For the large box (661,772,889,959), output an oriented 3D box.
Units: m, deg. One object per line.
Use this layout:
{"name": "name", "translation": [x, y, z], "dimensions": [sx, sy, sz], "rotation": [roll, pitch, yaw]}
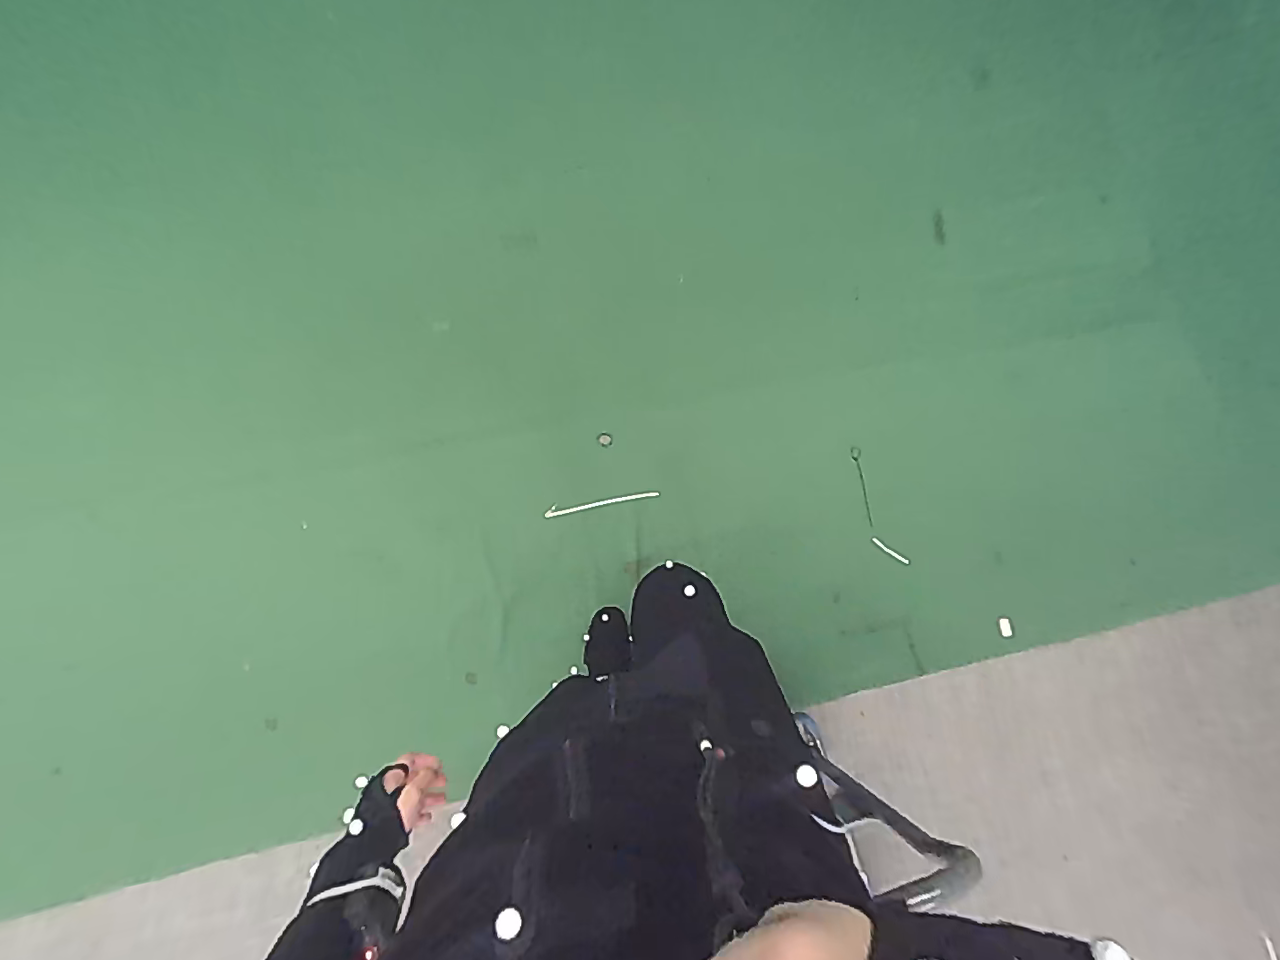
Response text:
{"name": "large box", "translation": [0.256, 0.861, 1.039], "dimensions": [0.320, 0.320, 0.408], "rotation": [-15, 82, -6]}
